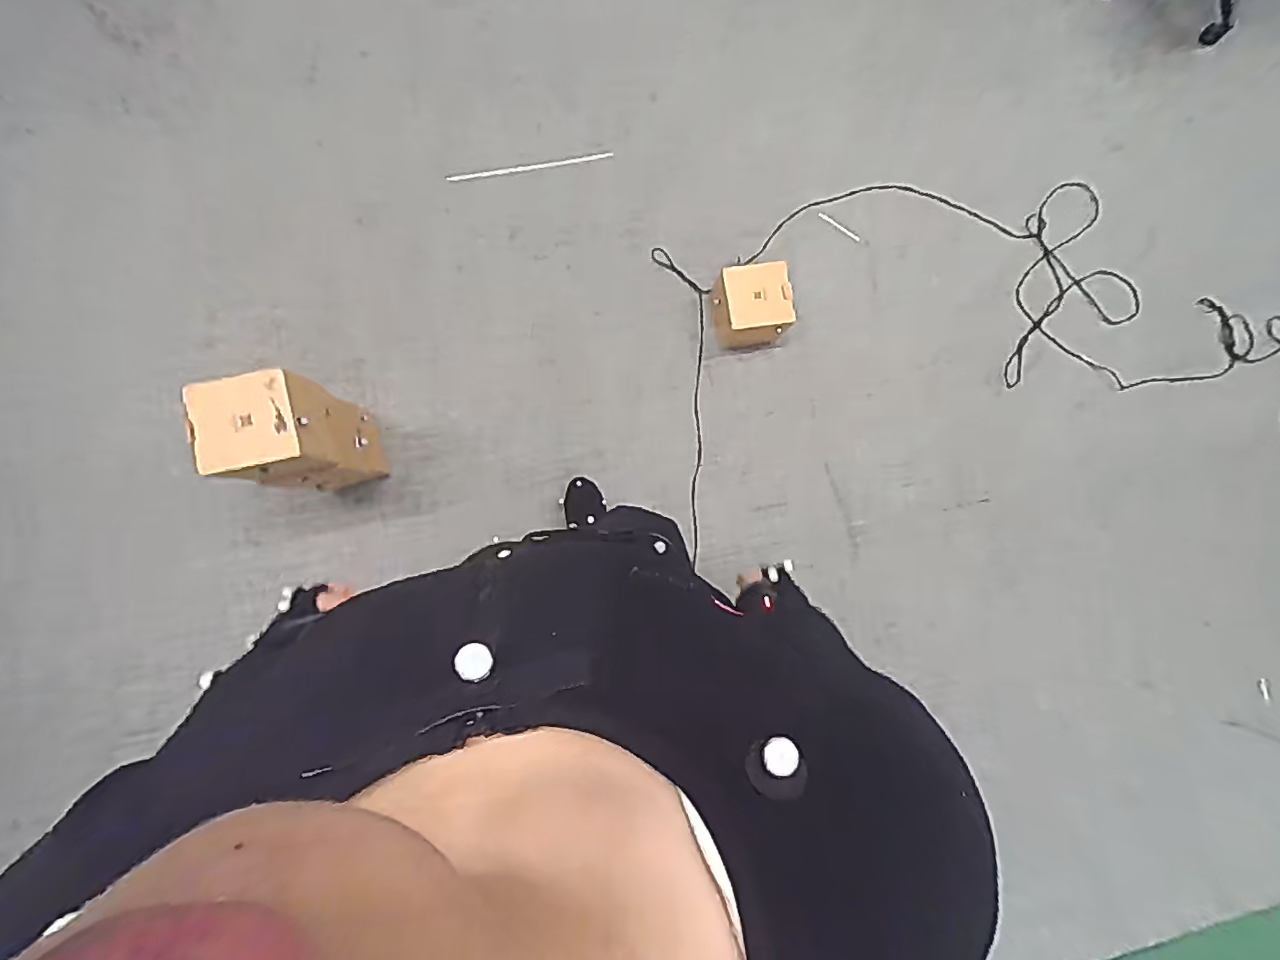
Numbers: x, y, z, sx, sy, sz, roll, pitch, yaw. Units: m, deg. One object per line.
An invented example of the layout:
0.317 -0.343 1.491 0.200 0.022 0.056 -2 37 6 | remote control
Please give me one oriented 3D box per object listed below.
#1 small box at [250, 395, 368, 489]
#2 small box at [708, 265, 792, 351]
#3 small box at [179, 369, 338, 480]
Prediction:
-0.739 -0.079 1.200 0.179 0.176 0.168 -13 88 -7 | small box
0.292 -0.463 1.477 0.179 0.176 0.168 -9 87 -7 | small box
-0.720 -0.098 1.038 0.179 0.176 0.168 -13 88 -5 | small box
